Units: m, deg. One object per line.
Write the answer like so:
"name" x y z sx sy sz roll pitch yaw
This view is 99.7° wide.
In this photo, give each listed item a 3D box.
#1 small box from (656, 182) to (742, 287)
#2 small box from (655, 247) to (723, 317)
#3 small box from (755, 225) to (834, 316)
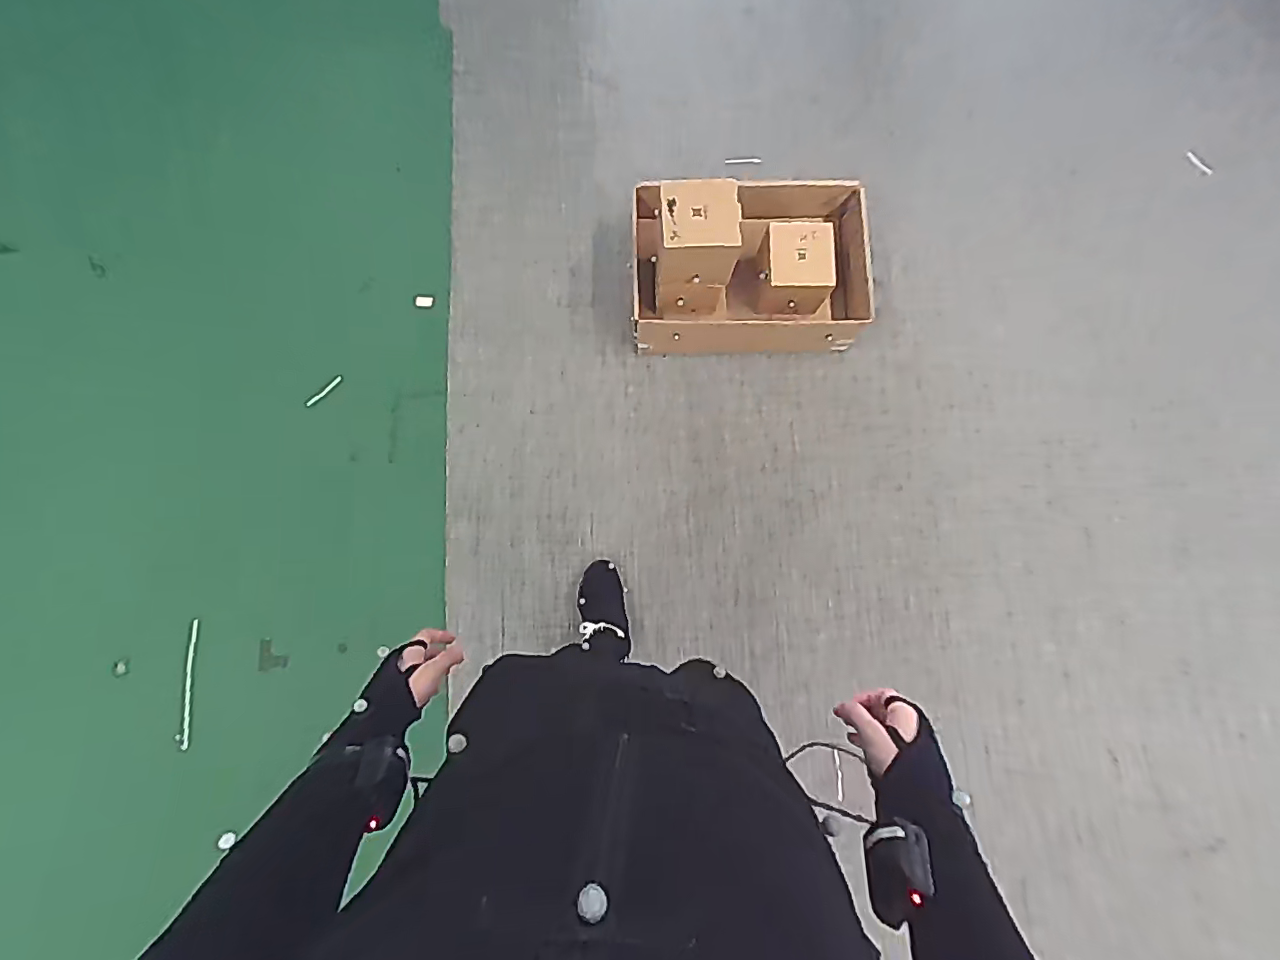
"small box" 0.133 -0.573 1.280 0.179 0.176 0.168 -2 80 -3
"small box" 0.127 -0.550 1.442 0.168 0.176 0.179 0 80 -2
"small box" 0.409 -0.554 1.449 0.168 0.176 0.179 1 81 0
